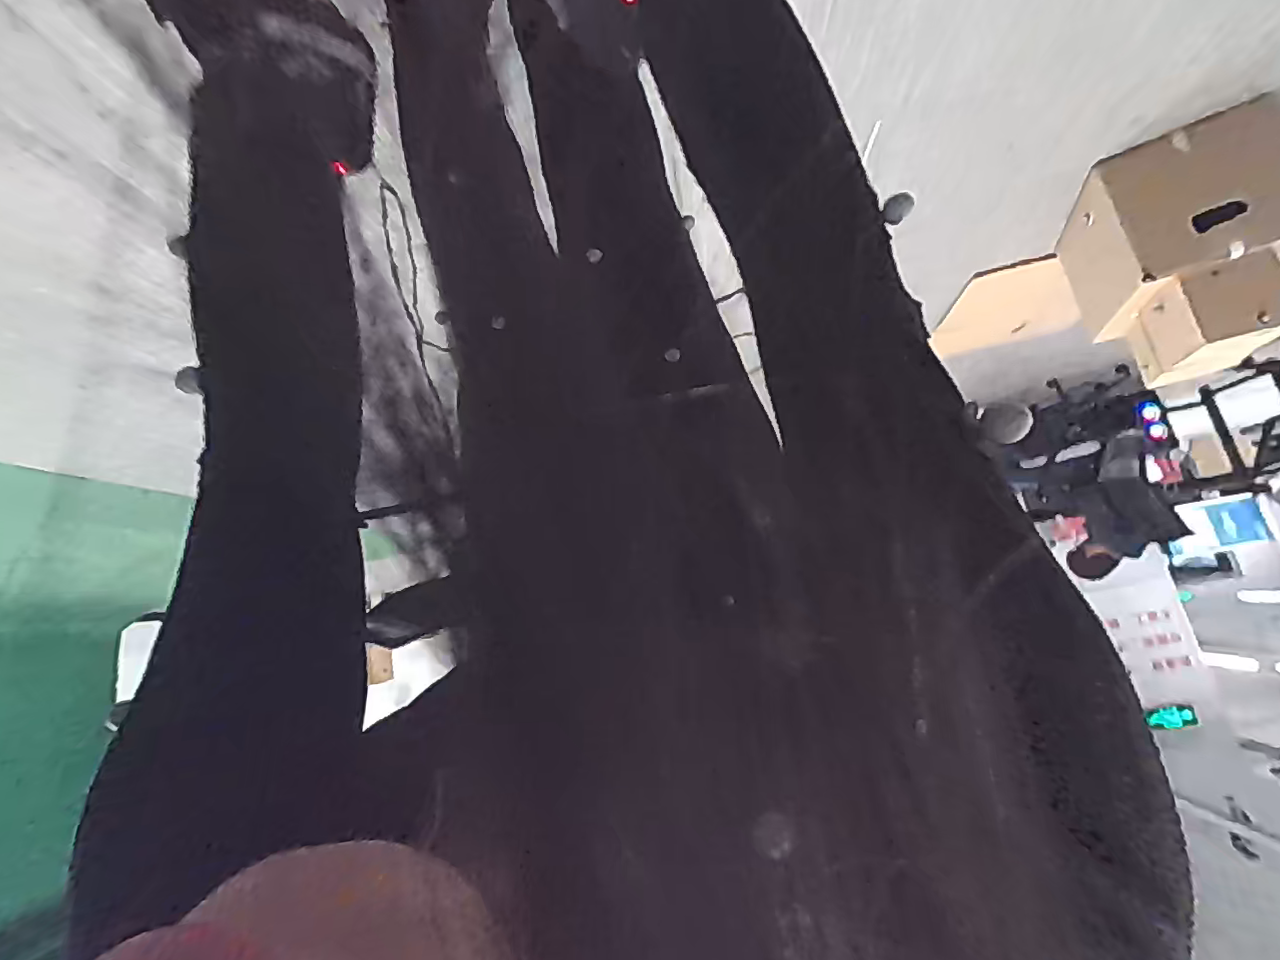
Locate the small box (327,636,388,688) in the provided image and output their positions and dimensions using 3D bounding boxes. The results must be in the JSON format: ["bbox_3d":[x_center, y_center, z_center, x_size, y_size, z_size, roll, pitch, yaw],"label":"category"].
[{"bbox_3d":[-1.181,0.755,2.261,0.168,0.176,0.179,-12,168,0],"label":"small box"}]
